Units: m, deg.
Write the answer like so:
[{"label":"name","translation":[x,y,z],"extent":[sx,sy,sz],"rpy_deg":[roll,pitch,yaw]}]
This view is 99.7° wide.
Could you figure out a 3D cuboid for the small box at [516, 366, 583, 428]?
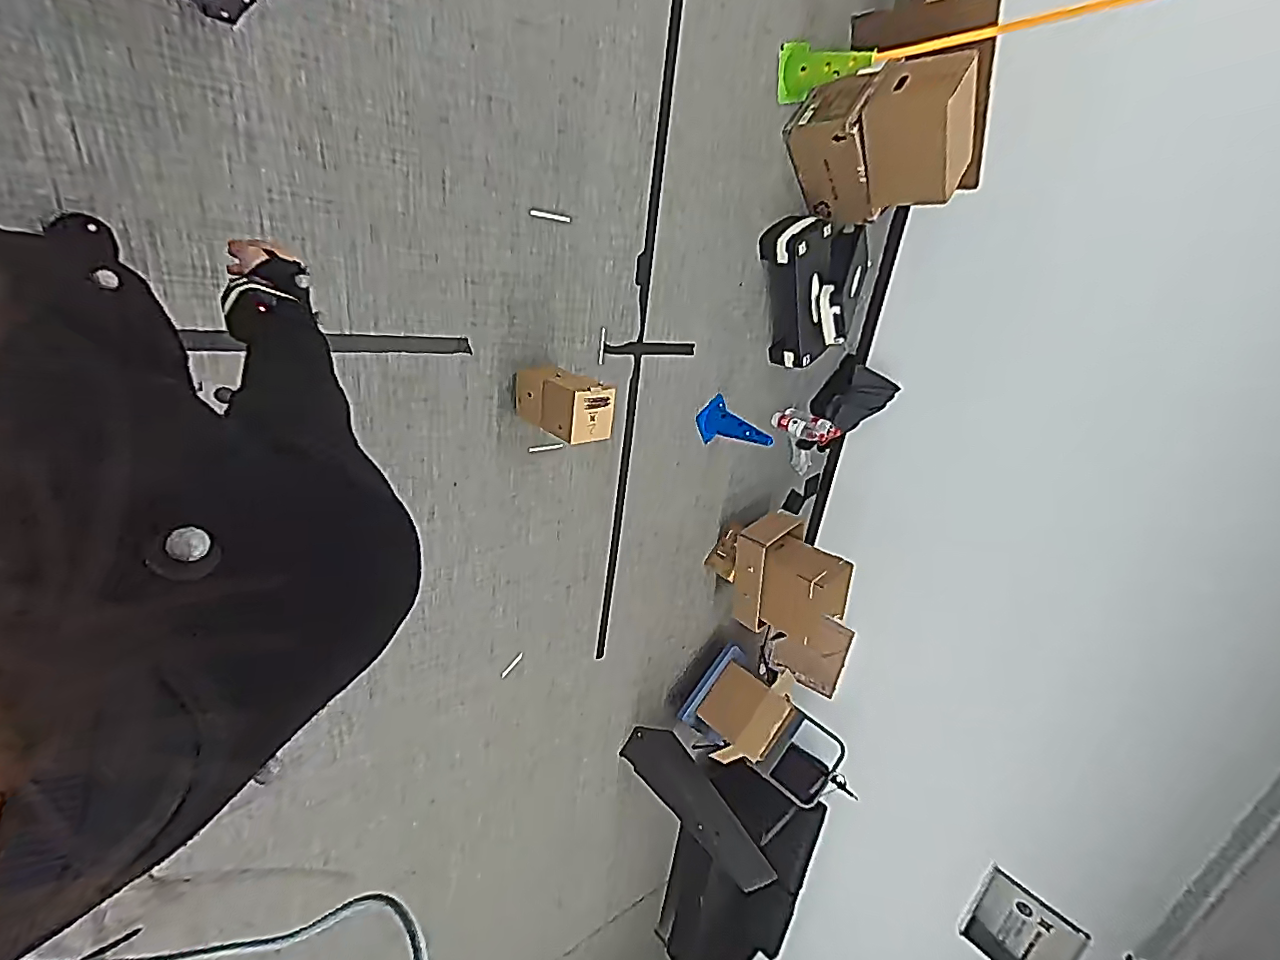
[{"label":"small box","translation":[-0.320,-0.293,1.883],"extent":[0.179,0.176,0.168],"rpy_deg":[-17,123,-40]}]
